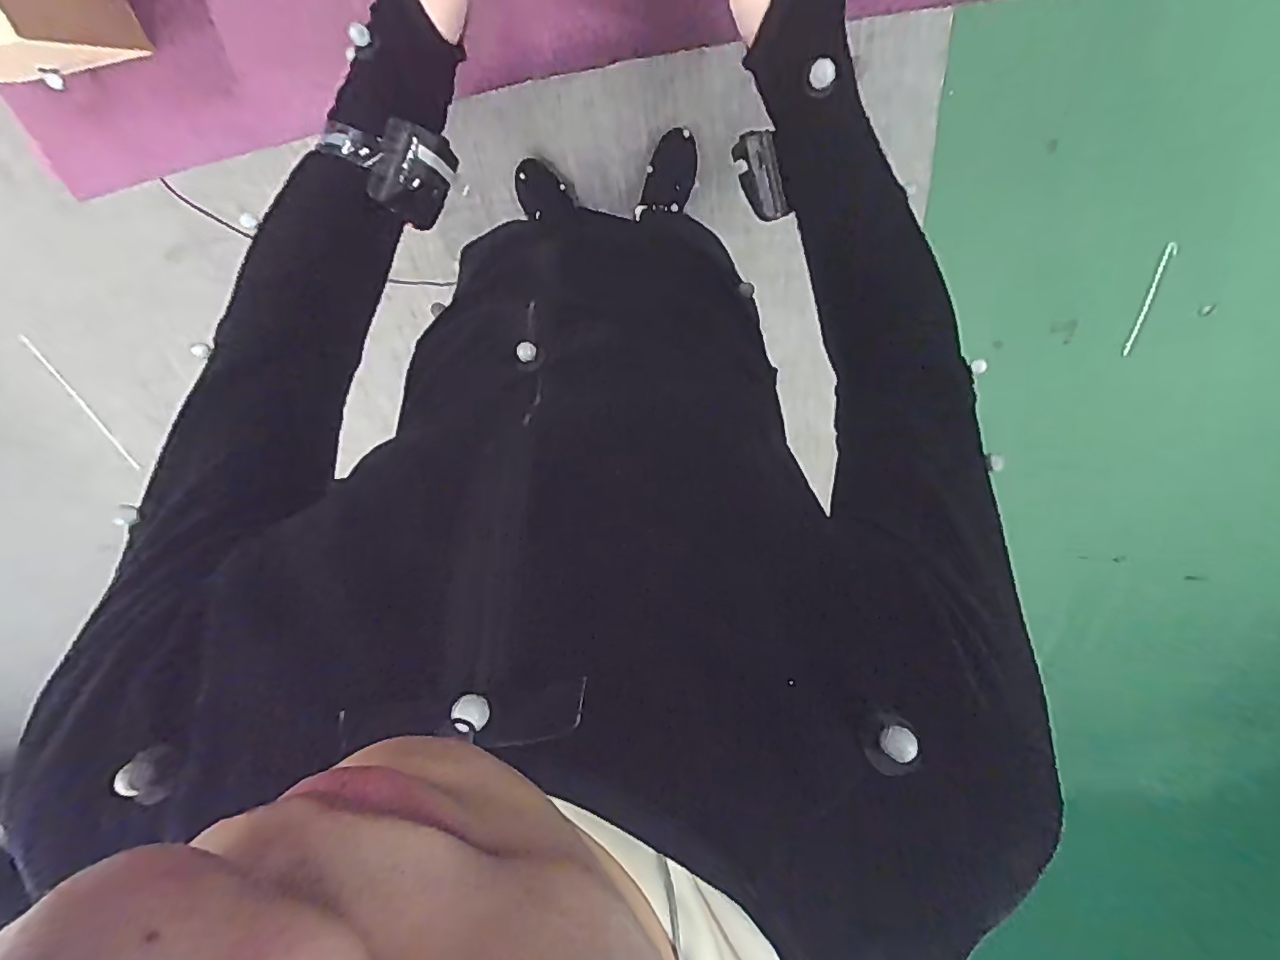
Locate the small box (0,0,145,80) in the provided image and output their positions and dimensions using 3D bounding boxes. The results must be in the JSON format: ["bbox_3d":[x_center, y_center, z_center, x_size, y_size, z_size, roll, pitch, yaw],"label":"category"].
[{"bbox_3d":[-0.641,-0.494,0.501,0.168,0.176,0.179,-7,125,5],"label":"small box"}]
